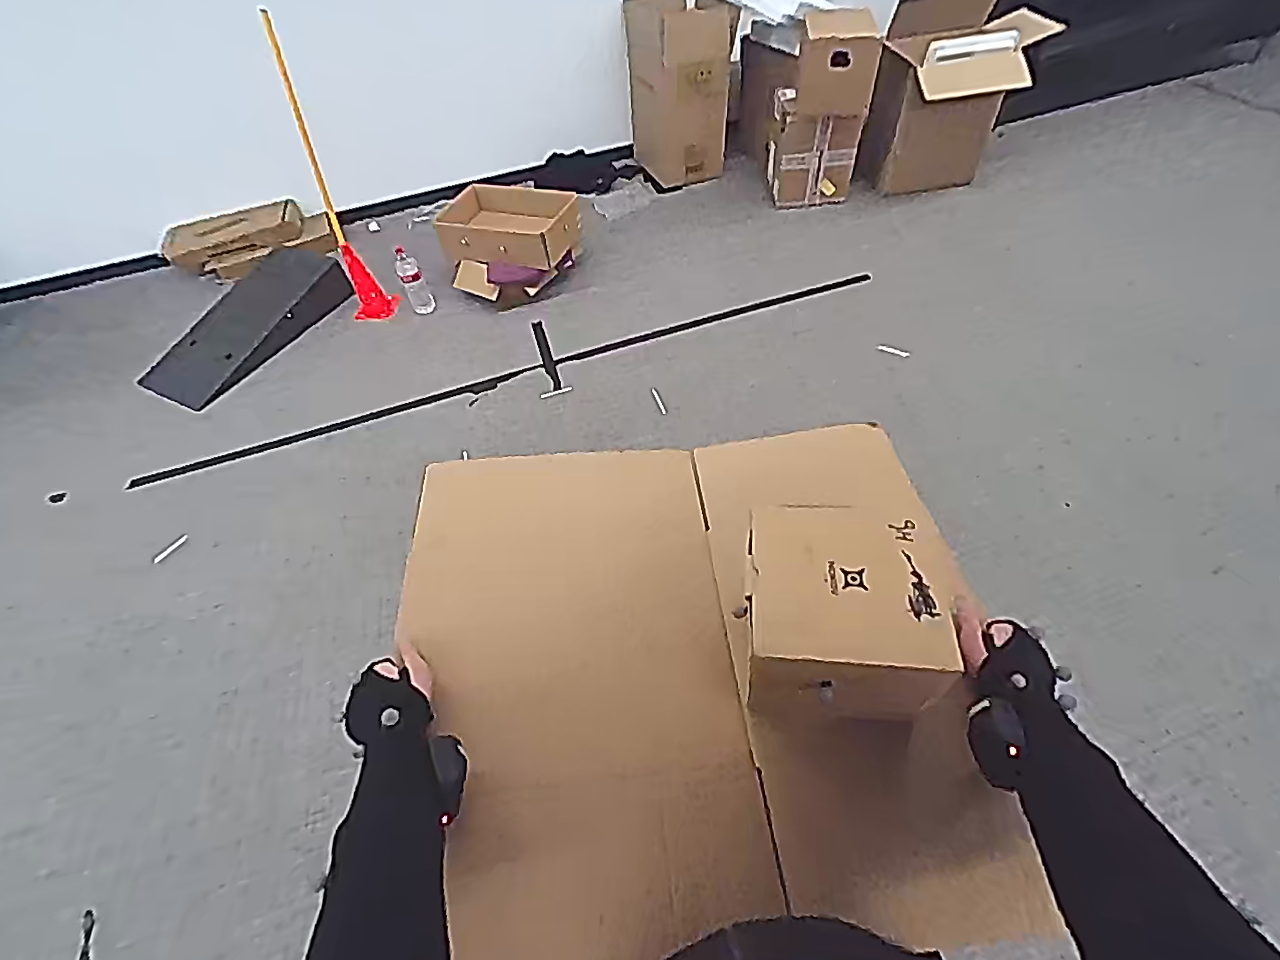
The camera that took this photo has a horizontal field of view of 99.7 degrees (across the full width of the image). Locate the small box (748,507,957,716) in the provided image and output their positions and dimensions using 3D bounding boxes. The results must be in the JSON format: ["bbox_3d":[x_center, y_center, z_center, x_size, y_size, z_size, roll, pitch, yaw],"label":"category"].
[{"bbox_3d":[0.208,0.143,0.582,0.179,0.176,0.168,0,53,11],"label":"small box"}]
